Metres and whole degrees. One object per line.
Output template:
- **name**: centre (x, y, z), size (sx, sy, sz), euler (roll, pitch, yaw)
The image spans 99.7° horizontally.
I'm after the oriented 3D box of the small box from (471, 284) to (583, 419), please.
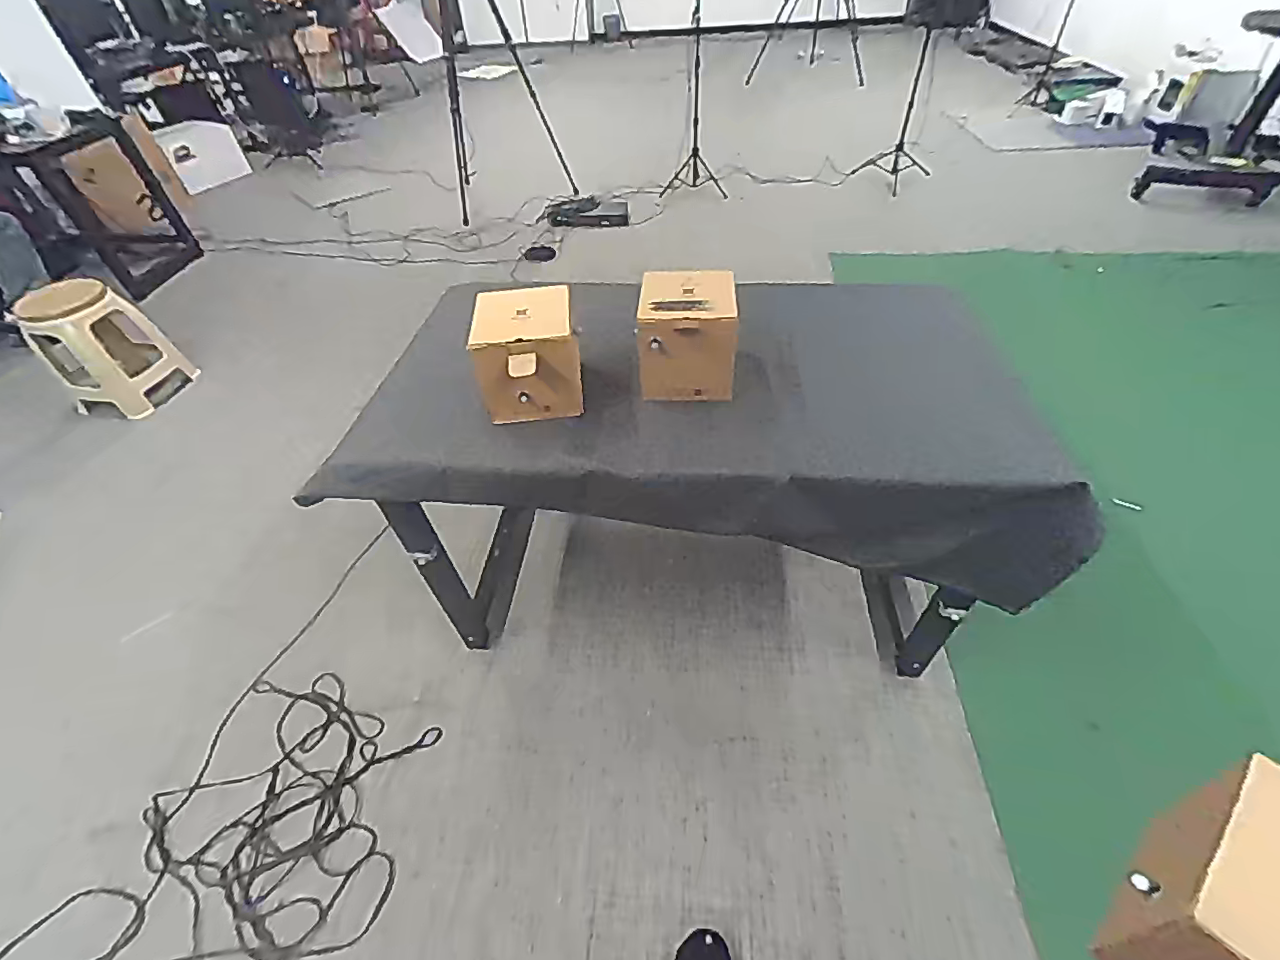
- **small box**: centre (-0.194, -0.232, 0.978), size (0.168, 0.176, 0.179), euler (-6, 47, -3)
